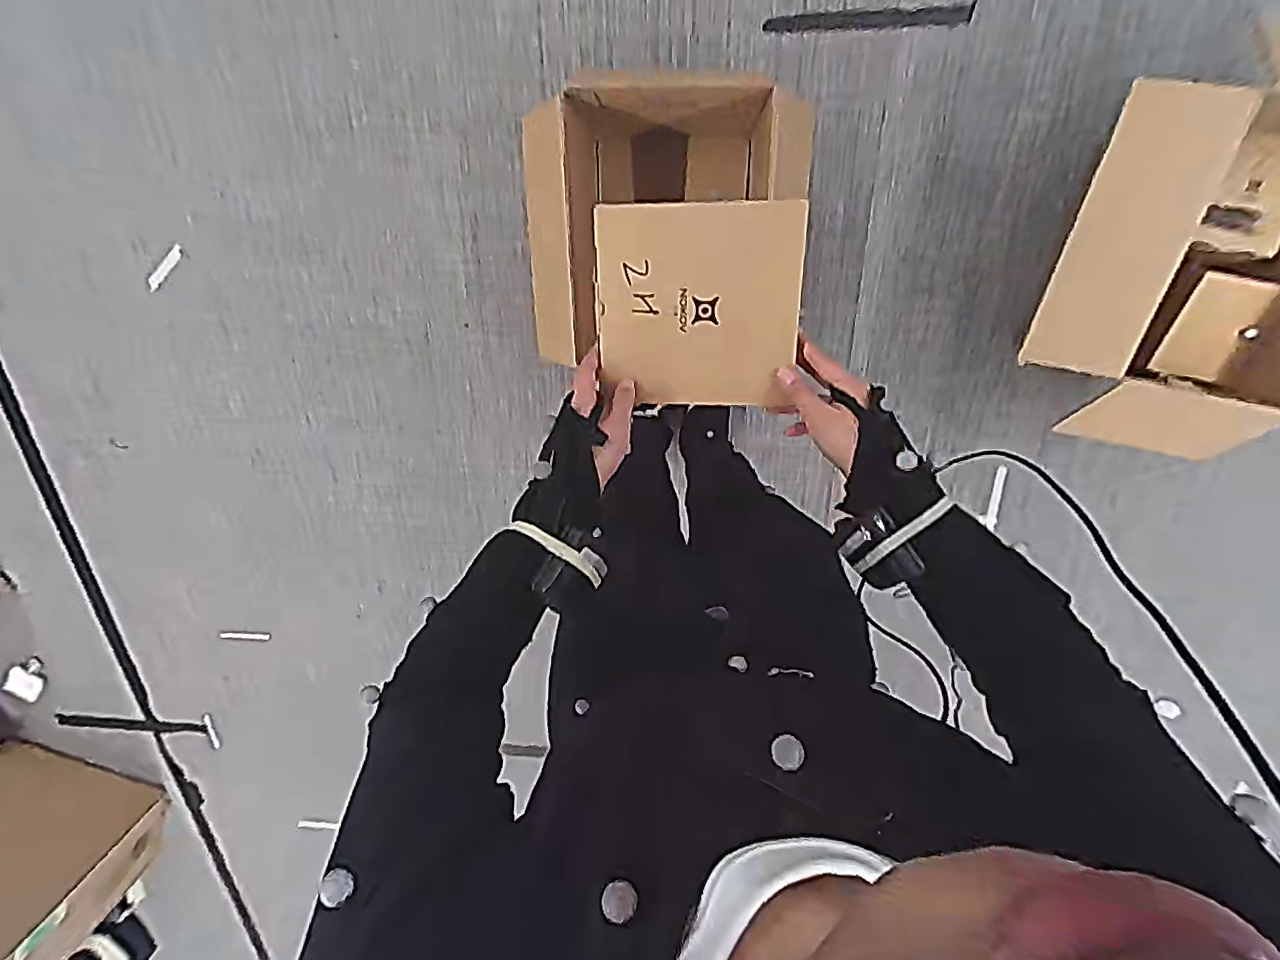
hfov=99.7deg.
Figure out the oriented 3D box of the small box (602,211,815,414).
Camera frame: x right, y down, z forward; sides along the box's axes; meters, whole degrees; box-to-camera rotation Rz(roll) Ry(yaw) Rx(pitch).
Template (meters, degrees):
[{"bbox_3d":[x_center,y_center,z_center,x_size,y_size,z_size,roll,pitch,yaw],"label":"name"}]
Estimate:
[{"bbox_3d":[0.064,-0.165,0.538,0.179,0.176,0.168,4,108,8],"label":"small box"}]
